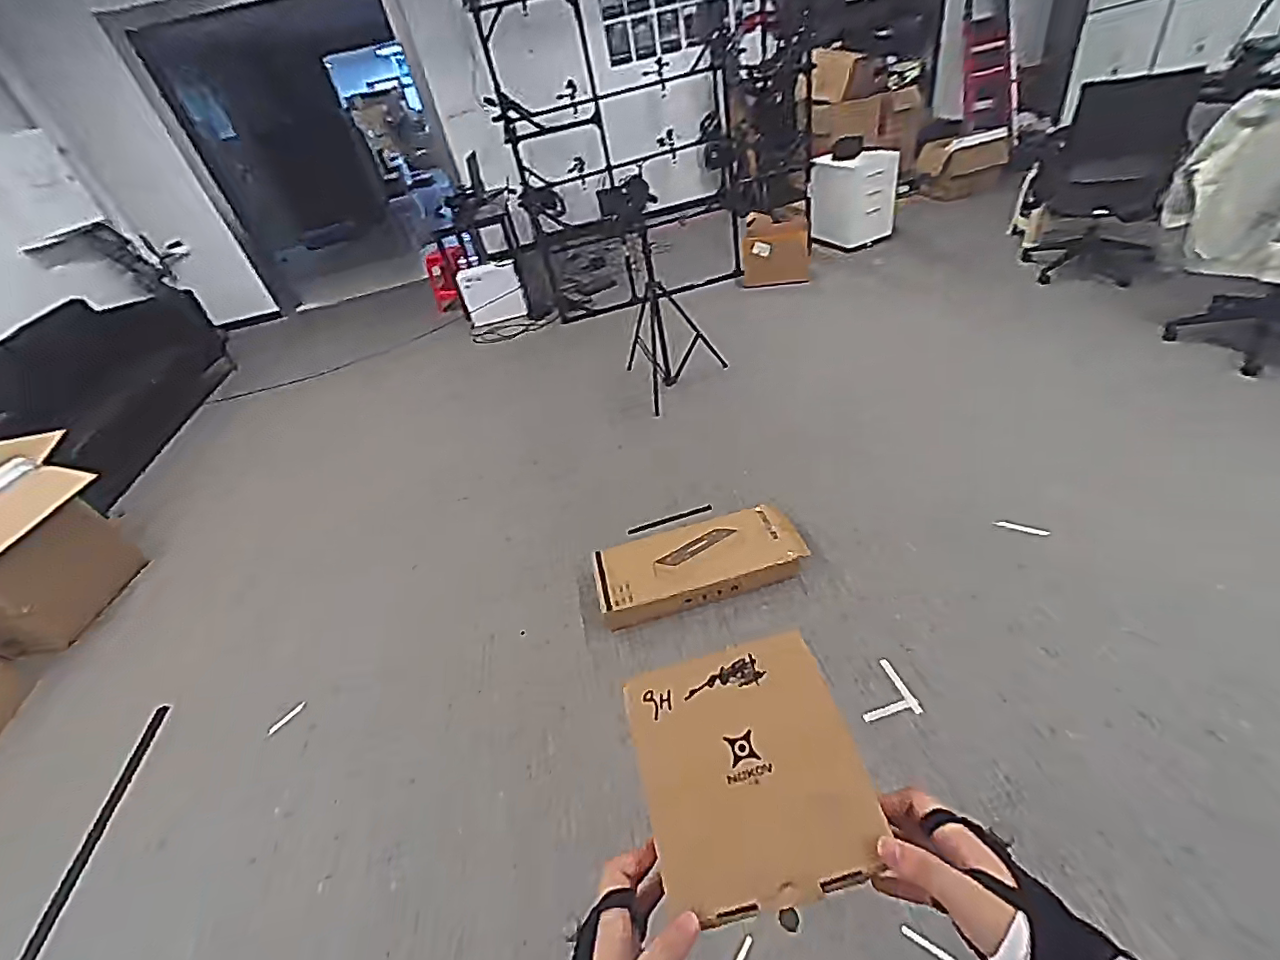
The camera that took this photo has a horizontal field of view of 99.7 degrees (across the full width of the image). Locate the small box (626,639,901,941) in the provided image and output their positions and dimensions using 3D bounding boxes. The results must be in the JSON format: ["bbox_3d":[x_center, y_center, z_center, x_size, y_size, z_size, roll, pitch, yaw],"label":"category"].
[{"bbox_3d":[0.097,0.272,0.480,0.168,0.176,0.179,-16,50,-1],"label":"small box"}]
